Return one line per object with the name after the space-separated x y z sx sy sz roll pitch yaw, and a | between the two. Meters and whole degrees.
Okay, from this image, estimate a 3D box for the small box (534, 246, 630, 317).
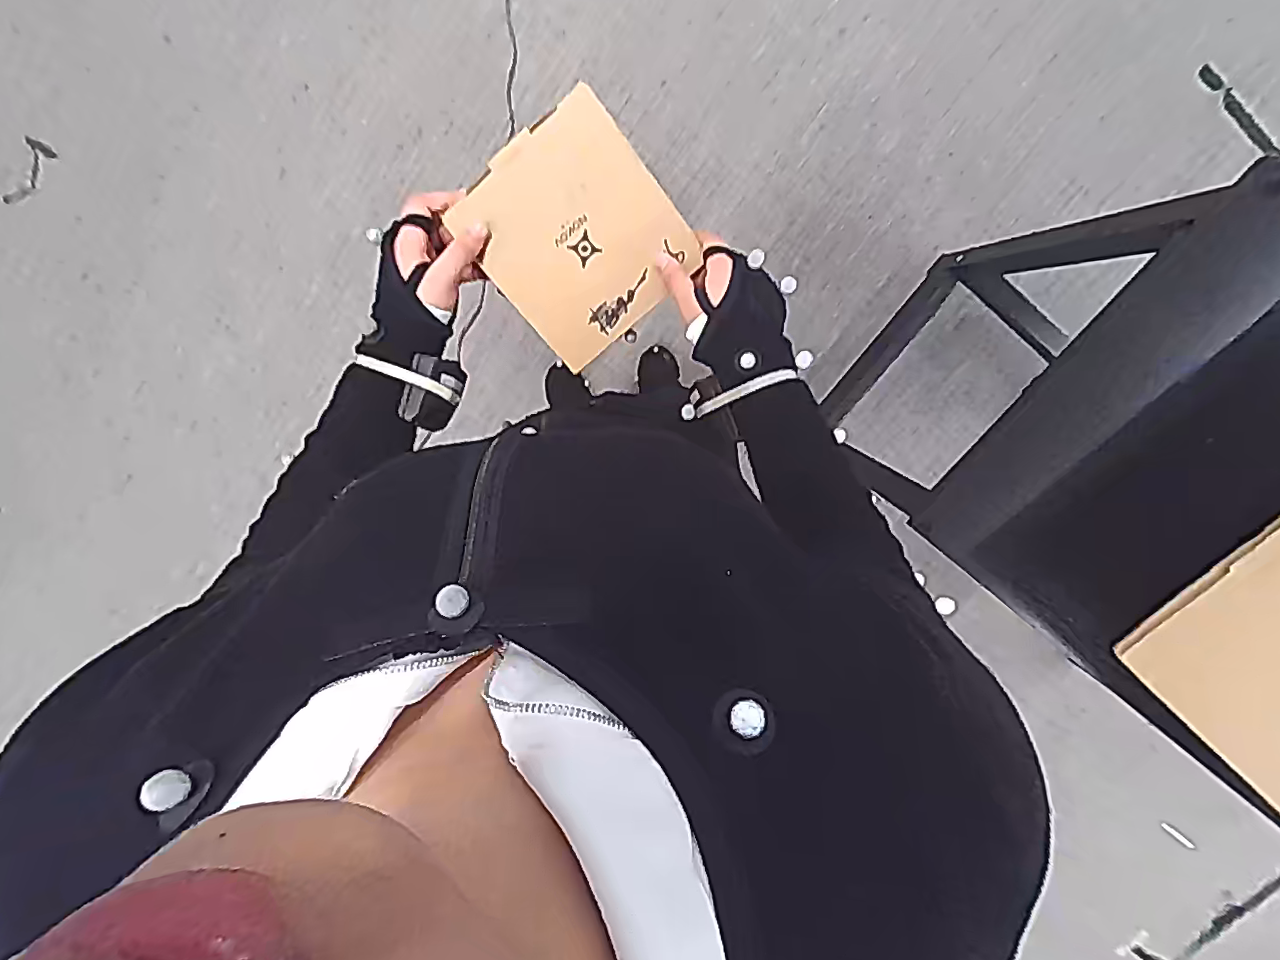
-0.139 -0.512 1.295 0.168 0.176 0.179 33 103 -8 | small box
